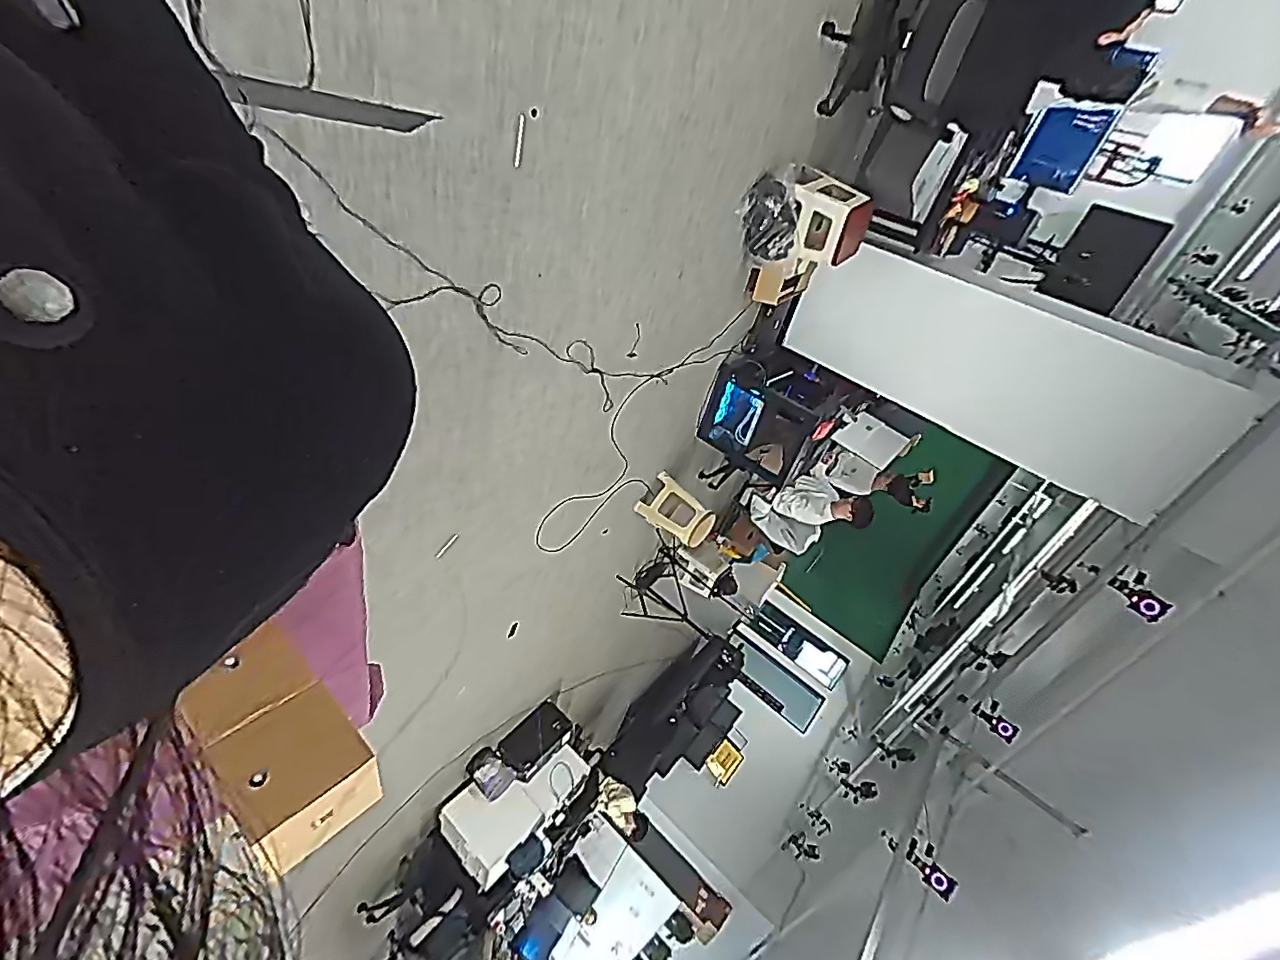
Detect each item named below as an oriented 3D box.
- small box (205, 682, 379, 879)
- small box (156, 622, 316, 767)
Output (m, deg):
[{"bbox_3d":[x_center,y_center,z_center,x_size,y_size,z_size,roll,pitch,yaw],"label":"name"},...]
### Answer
[{"bbox_3d":[-0.542,0.463,0.849,0.179,0.176,0.168,-32,149,-43],"label":"small box"},{"bbox_3d":[-0.665,0.377,0.912,0.168,0.176,0.179,-30,146,-44],"label":"small box"}]
